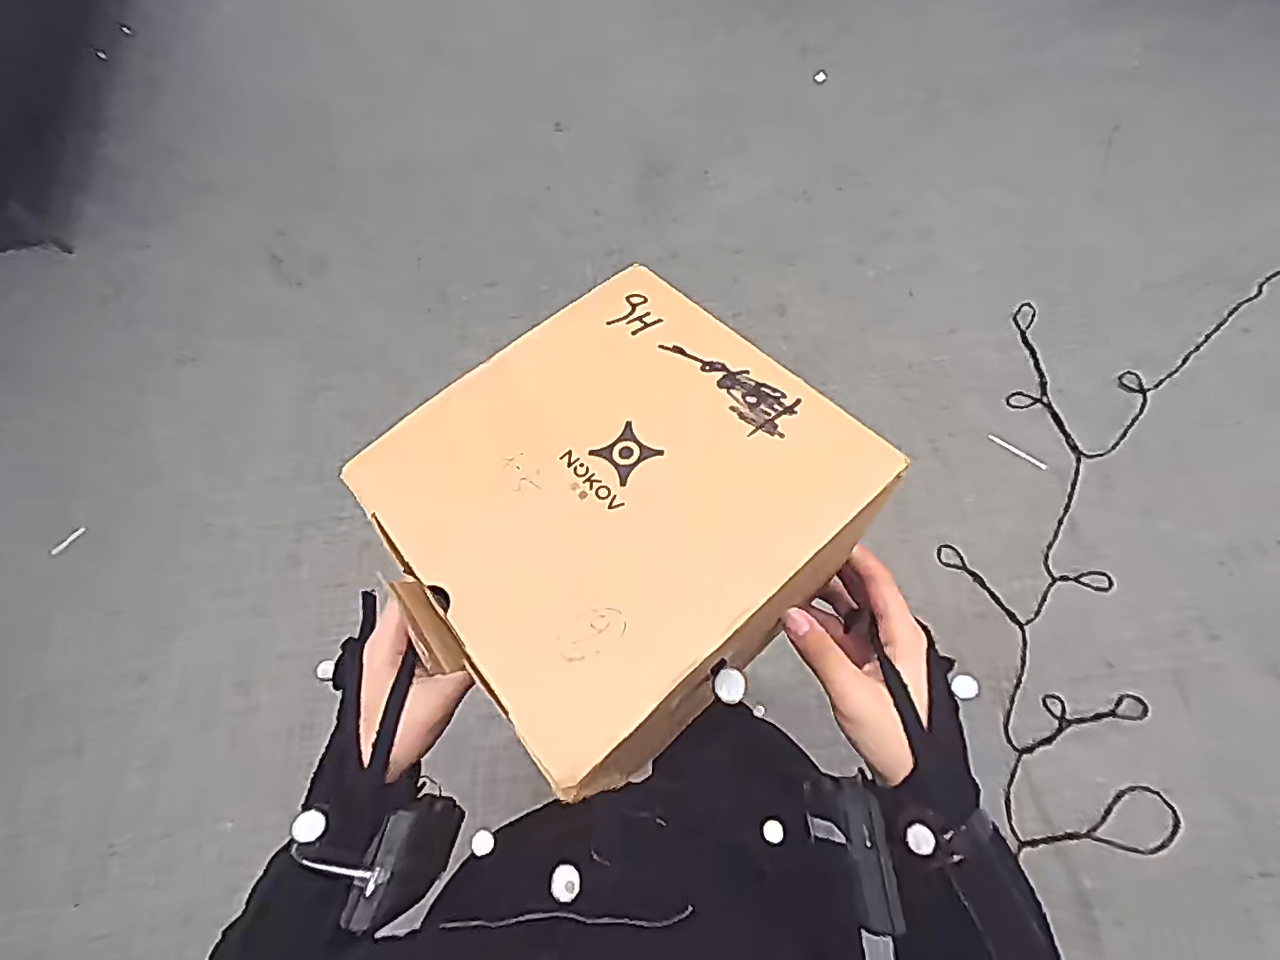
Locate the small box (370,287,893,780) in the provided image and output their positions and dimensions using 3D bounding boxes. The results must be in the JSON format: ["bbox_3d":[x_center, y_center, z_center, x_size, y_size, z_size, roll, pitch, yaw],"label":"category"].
[{"bbox_3d":[-0.001,0.038,0.305,0.179,0.176,0.168,-40,65,-14],"label":"small box"}]
